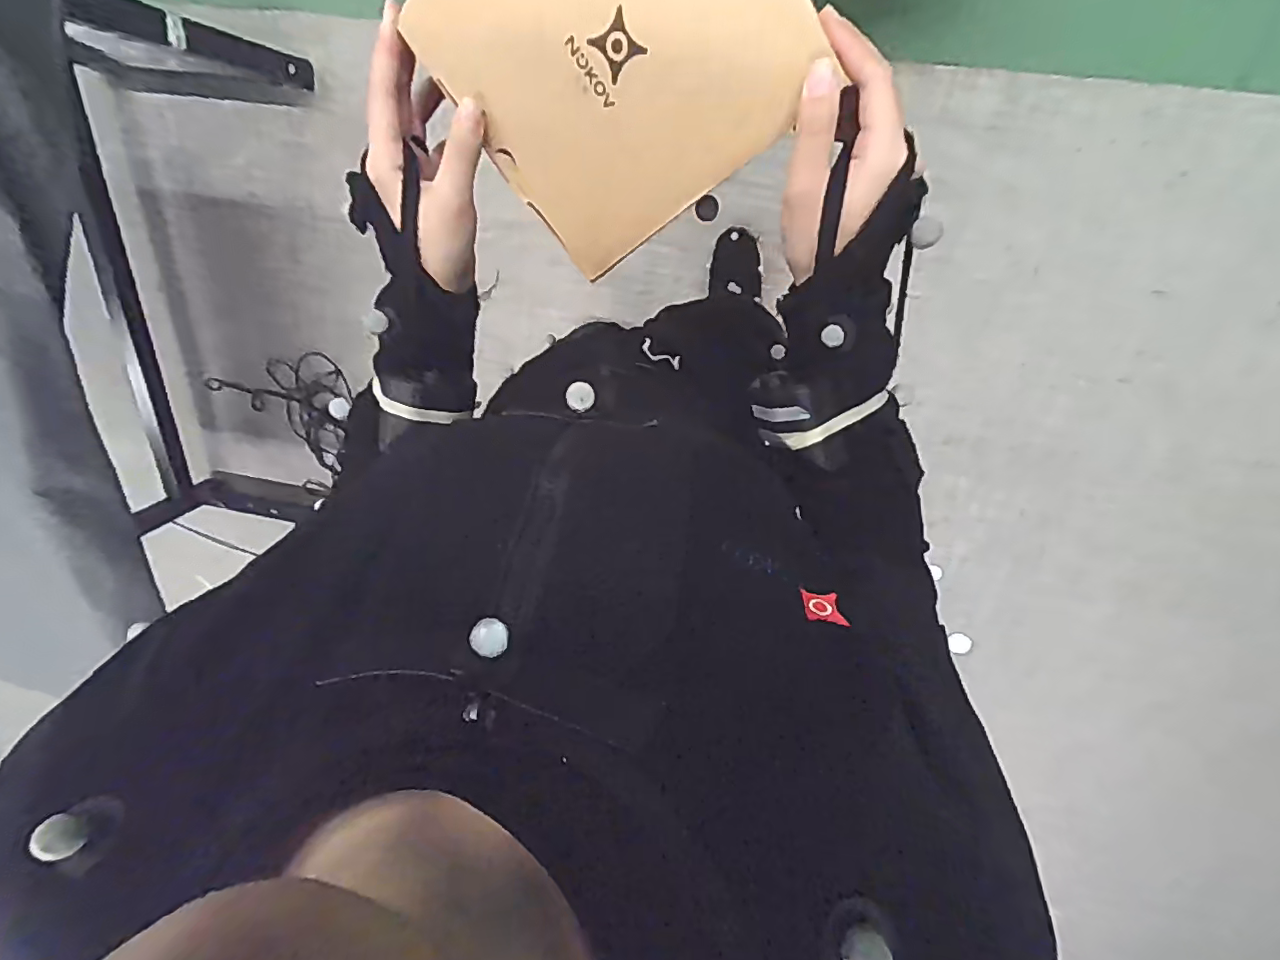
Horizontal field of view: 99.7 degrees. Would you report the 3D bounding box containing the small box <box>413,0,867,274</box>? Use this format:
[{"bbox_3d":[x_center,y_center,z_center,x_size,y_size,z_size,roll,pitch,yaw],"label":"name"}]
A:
[{"bbox_3d":[0.011,-0.267,0.327,0.179,0.176,0.168,-25,119,32],"label":"small box"}]
